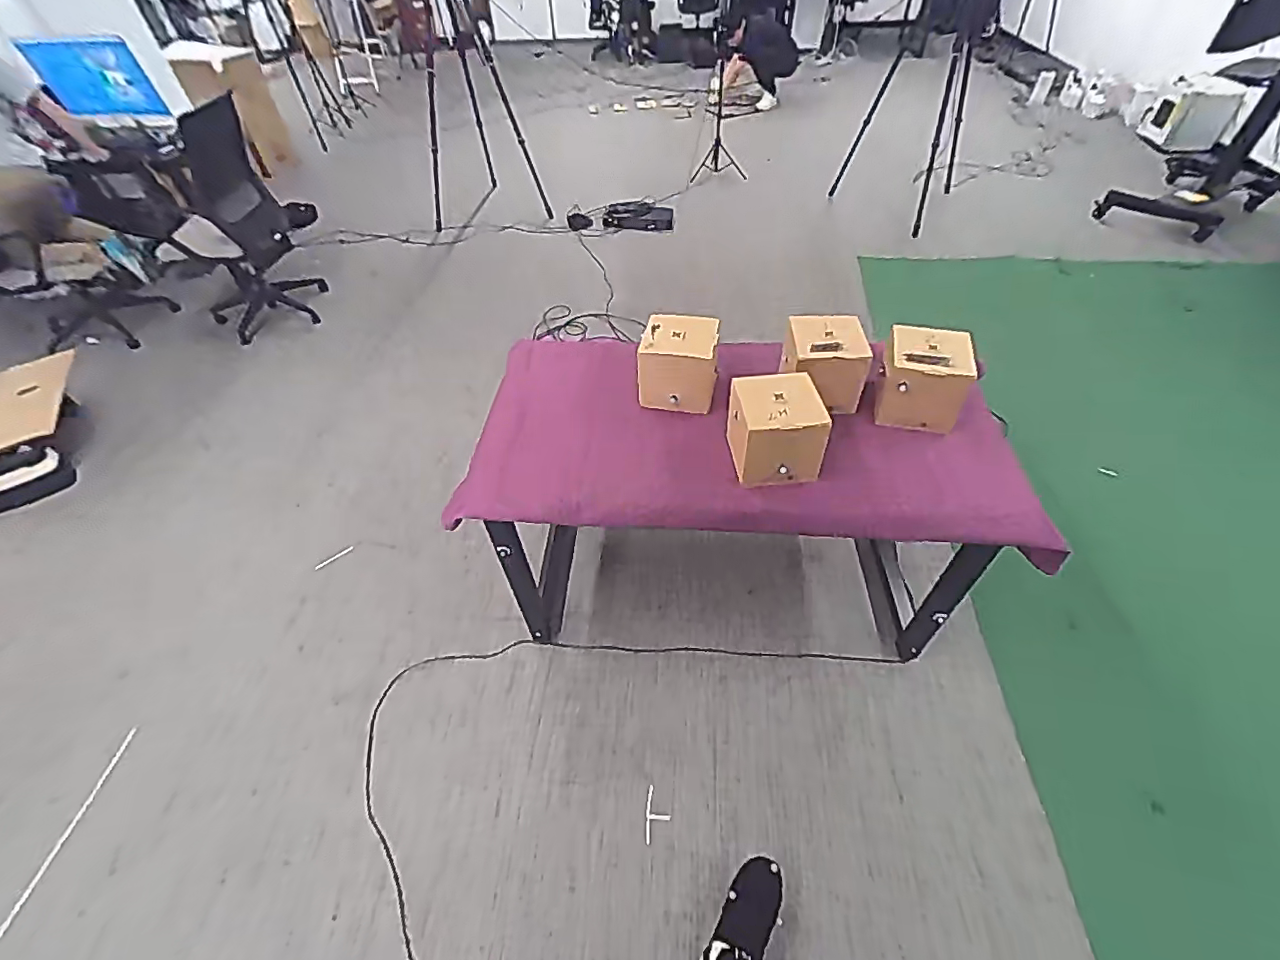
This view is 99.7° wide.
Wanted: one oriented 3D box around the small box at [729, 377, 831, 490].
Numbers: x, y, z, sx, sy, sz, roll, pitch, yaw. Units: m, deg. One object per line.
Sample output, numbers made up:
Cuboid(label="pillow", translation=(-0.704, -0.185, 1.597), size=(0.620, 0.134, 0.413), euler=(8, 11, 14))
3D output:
Cuboid(label="small box", translation=(0.289, -0.099, 1.163), size=(0.168, 0.176, 0.179), euler=(-5, 46, 0))

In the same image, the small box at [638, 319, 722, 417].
Cuboid(label="small box", translation=(0.099, -0.275, 1.338), size=(0.179, 0.176, 0.168), euler=(8, 49, 10))
